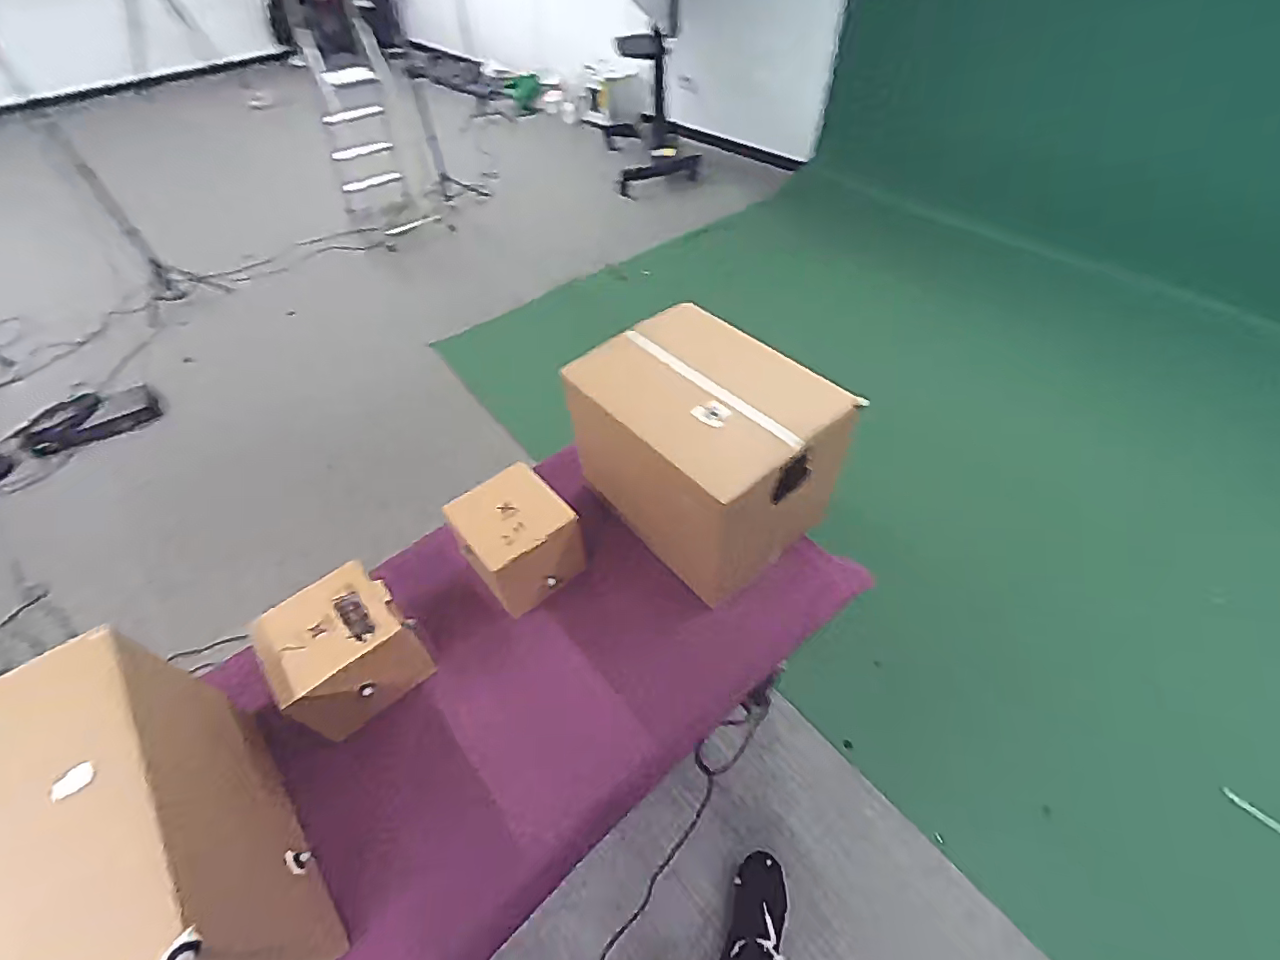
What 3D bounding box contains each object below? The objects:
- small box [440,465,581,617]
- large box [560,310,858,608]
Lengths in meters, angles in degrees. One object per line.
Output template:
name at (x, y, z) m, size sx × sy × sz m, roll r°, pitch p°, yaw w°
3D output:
small box at (-0.226, 0.111, 0.973) m, size 0.168 × 0.176 × 0.179 m, roll -34°, pitch 56°, yaw -24°
large box at (0.108, -0.049, 1.006) m, size 0.320 × 0.320 × 0.408 m, roll -35°, pitch 56°, yaw -23°
